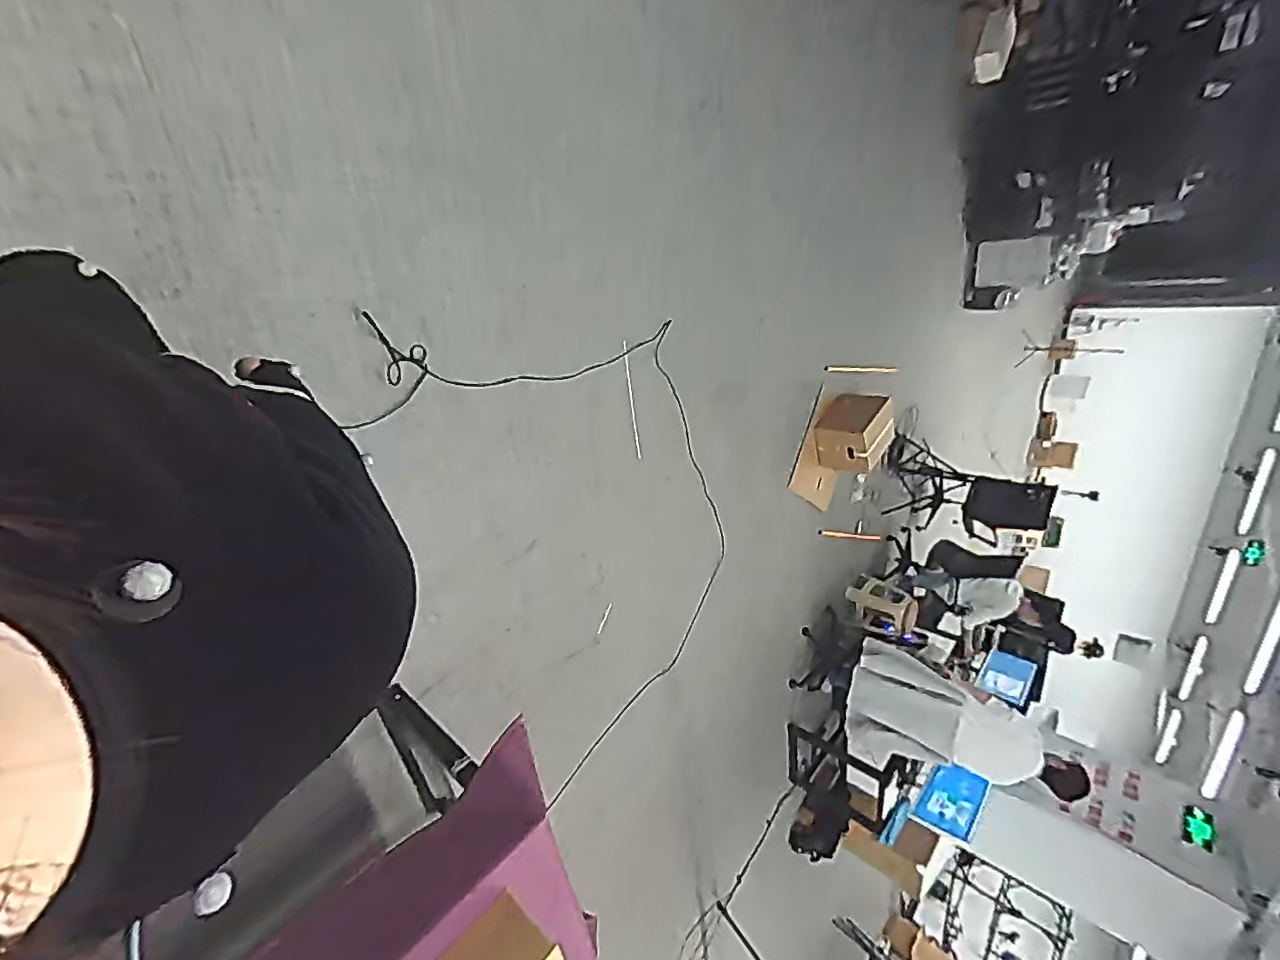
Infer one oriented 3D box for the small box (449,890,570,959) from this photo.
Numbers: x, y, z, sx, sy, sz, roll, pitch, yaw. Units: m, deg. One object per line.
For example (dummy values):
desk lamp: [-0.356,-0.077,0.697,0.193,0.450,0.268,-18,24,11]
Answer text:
small box: [-0.251,0.976,1.070,0.179,0.176,0.168,-31,123,-36]
